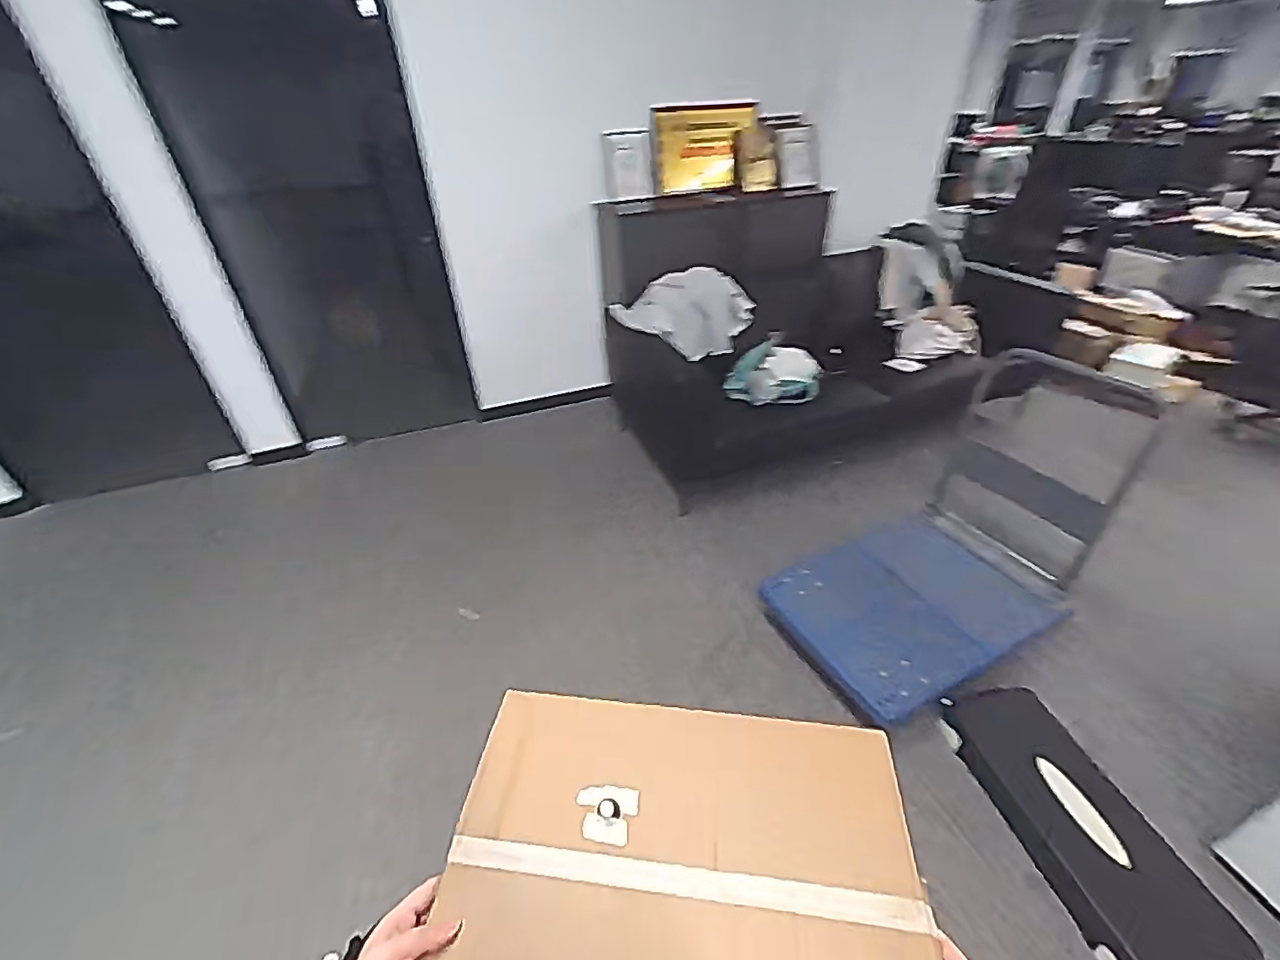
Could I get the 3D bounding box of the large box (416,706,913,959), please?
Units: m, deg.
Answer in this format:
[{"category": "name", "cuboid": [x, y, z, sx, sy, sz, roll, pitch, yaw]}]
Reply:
[{"category": "large box", "cuboid": [0.032, 0.466, 0.564, 0.408, 0.320, 0.320, 1, 39, 8]}]
